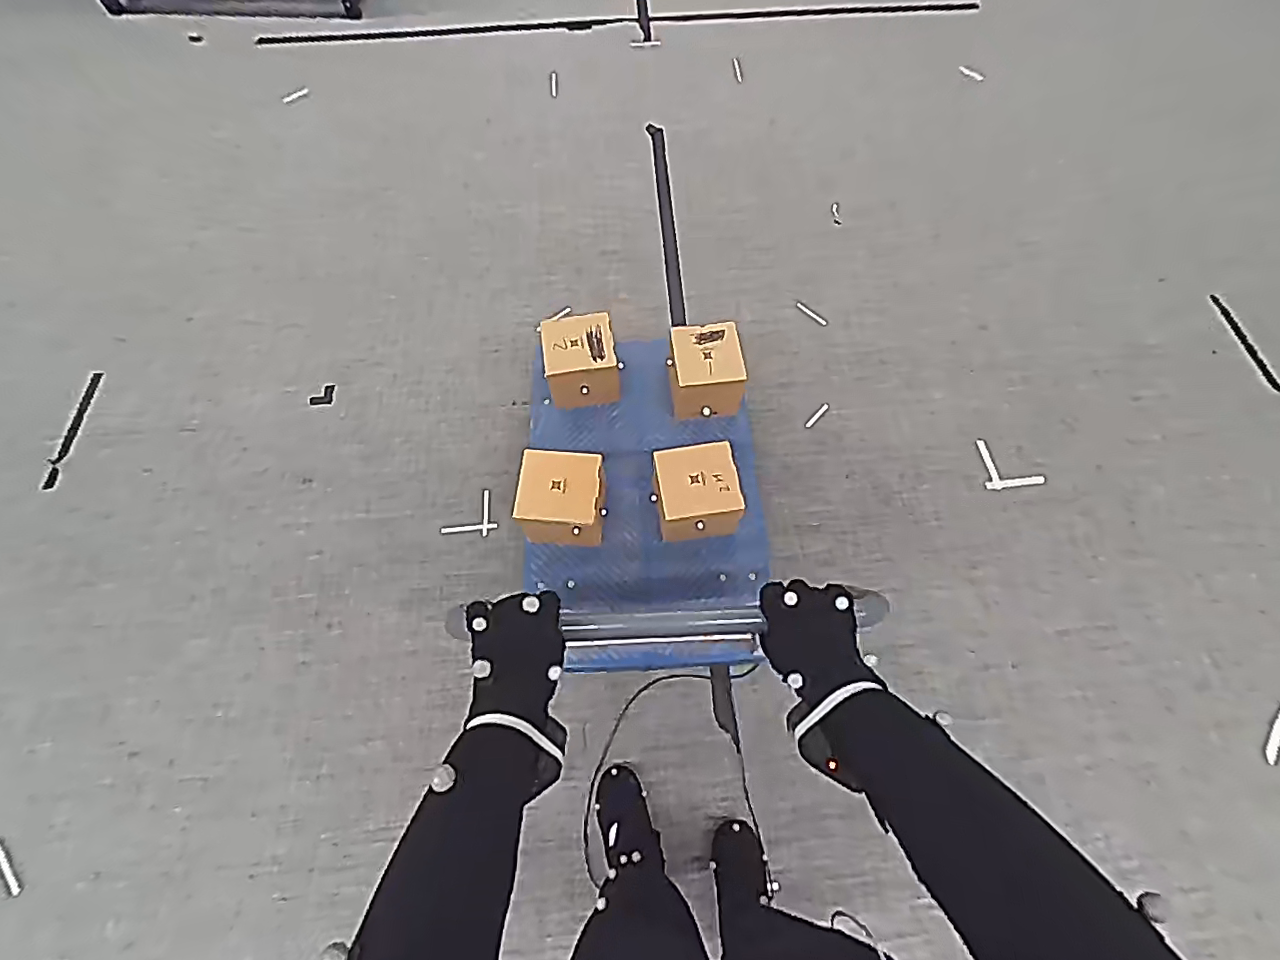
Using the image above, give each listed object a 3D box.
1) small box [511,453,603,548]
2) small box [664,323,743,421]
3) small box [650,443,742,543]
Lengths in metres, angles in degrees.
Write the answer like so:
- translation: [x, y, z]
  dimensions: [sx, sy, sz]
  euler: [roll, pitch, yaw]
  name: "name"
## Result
- translation: [-0.182, 0.053, 1.238]
  dimensions: [0.179, 0.176, 0.168]
  euler: [3, 65, 0]
  name: "small box"
- translation: [0.155, -0.271, 1.379]
  dimensions: [0.168, 0.176, 0.179]
  euler: [-7, 67, -2]
  name: "small box"
- translation: [0.122, 0.036, 1.243]
  dimensions: [0.179, 0.176, 0.168]
  euler: [-9, 66, -3]
  name: "small box"
